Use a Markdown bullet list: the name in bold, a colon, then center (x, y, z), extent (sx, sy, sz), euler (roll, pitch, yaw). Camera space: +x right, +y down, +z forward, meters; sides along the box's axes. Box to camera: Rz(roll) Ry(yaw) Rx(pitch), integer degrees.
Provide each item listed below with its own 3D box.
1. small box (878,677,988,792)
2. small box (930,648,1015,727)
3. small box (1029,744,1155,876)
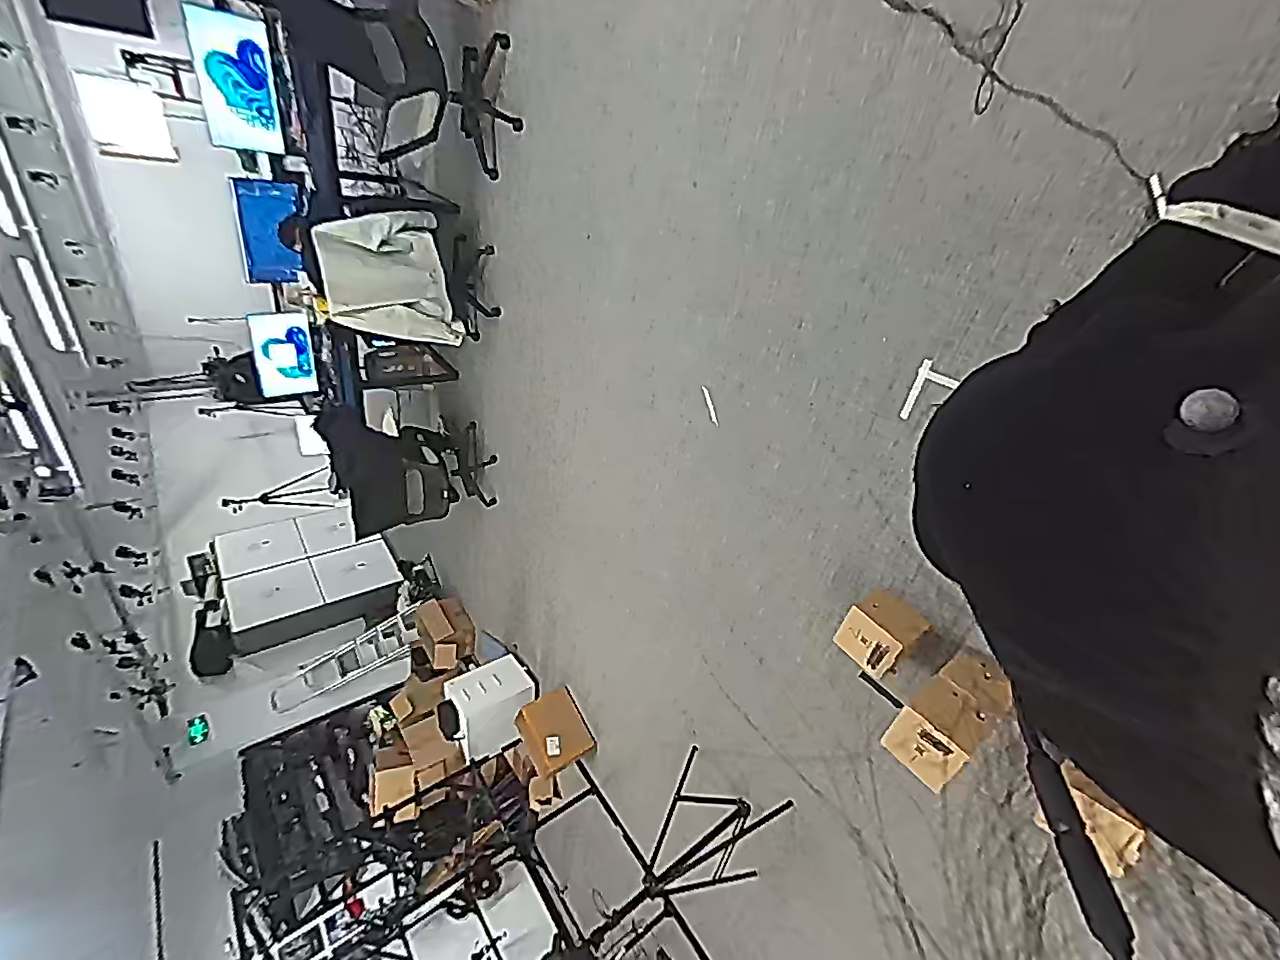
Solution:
- **small box**: center (0.758, 0.647, 1.394), extent (0.168, 0.176, 0.179), euler (40, 133, 37)
- **small box**: center (0.885, 0.601, 1.488), extent (0.168, 0.176, 0.179), euler (43, 133, 34)
- **small box**: center (1.085, 0.779, 1.297), extent (0.179, 0.176, 0.168), euler (28, 123, 44)
